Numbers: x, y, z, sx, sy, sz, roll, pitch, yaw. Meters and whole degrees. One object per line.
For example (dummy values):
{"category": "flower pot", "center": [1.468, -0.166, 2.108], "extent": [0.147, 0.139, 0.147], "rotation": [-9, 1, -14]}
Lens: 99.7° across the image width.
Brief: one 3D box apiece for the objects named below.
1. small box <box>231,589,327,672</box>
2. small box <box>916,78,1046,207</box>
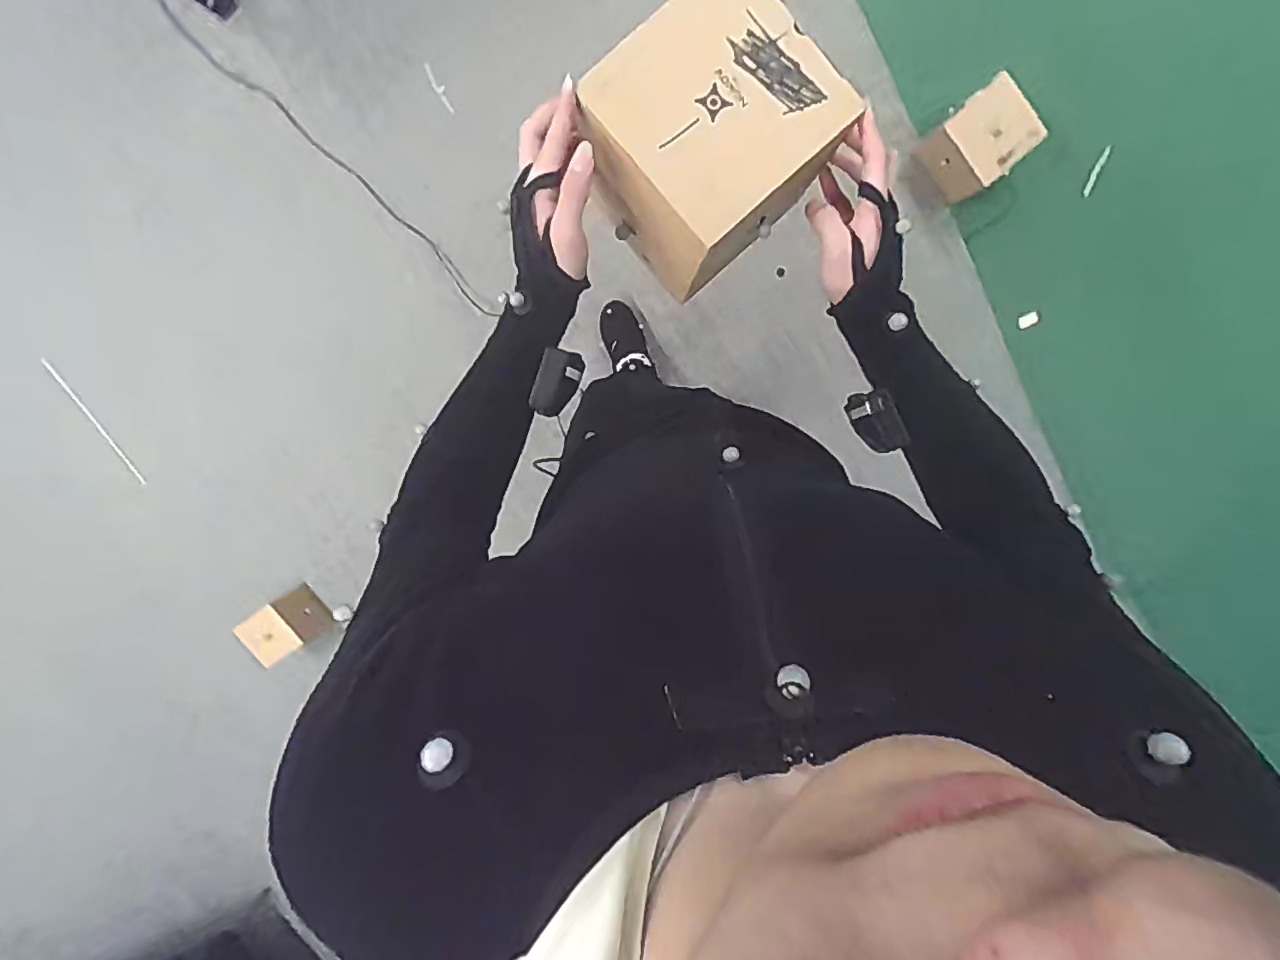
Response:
{"category": "small box", "center": [-1.169, 0.485, 1.773], "extent": [0.179, 0.176, 0.168], "rotation": [-33, 98, 11]}
{"category": "small box", "center": [0.810, -0.799, 1.305], "extent": [0.168, 0.176, 0.179], "rotation": [-40, 97, 12]}
